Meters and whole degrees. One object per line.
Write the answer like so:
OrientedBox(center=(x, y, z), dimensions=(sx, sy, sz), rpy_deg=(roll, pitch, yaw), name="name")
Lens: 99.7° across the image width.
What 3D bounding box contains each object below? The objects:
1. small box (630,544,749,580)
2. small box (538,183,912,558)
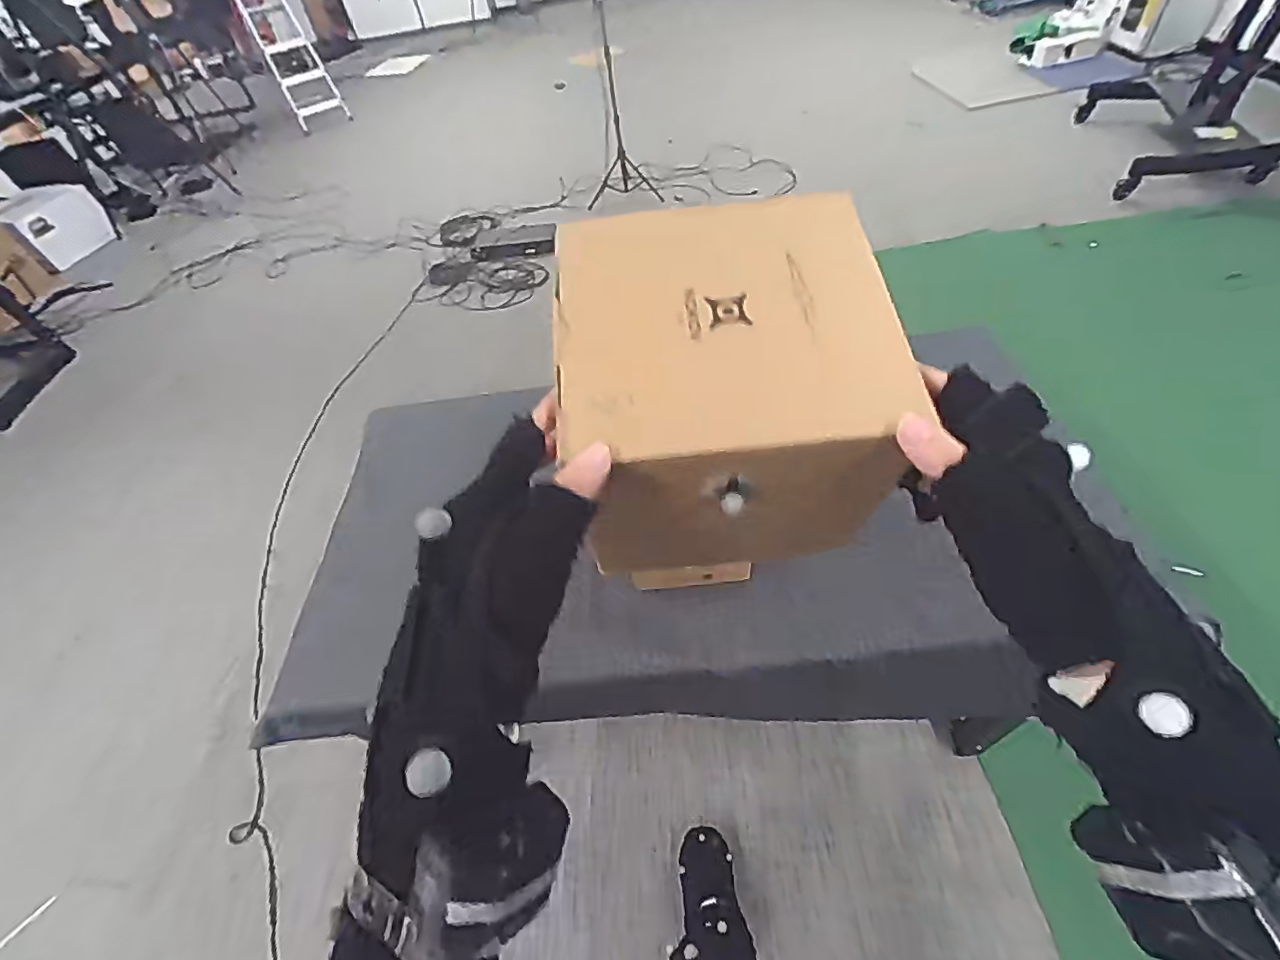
OrientedBox(center=(0.060, 0.030, 0.767), dimensions=(0.168, 0.176, 0.179), rpy_deg=(-8, 51, 4), name="small box")
OrientedBox(center=(0.039, -0.057, 0.356), dimensions=(0.179, 0.176, 0.168), rpy_deg=(-7, 63, 1), name="small box")
